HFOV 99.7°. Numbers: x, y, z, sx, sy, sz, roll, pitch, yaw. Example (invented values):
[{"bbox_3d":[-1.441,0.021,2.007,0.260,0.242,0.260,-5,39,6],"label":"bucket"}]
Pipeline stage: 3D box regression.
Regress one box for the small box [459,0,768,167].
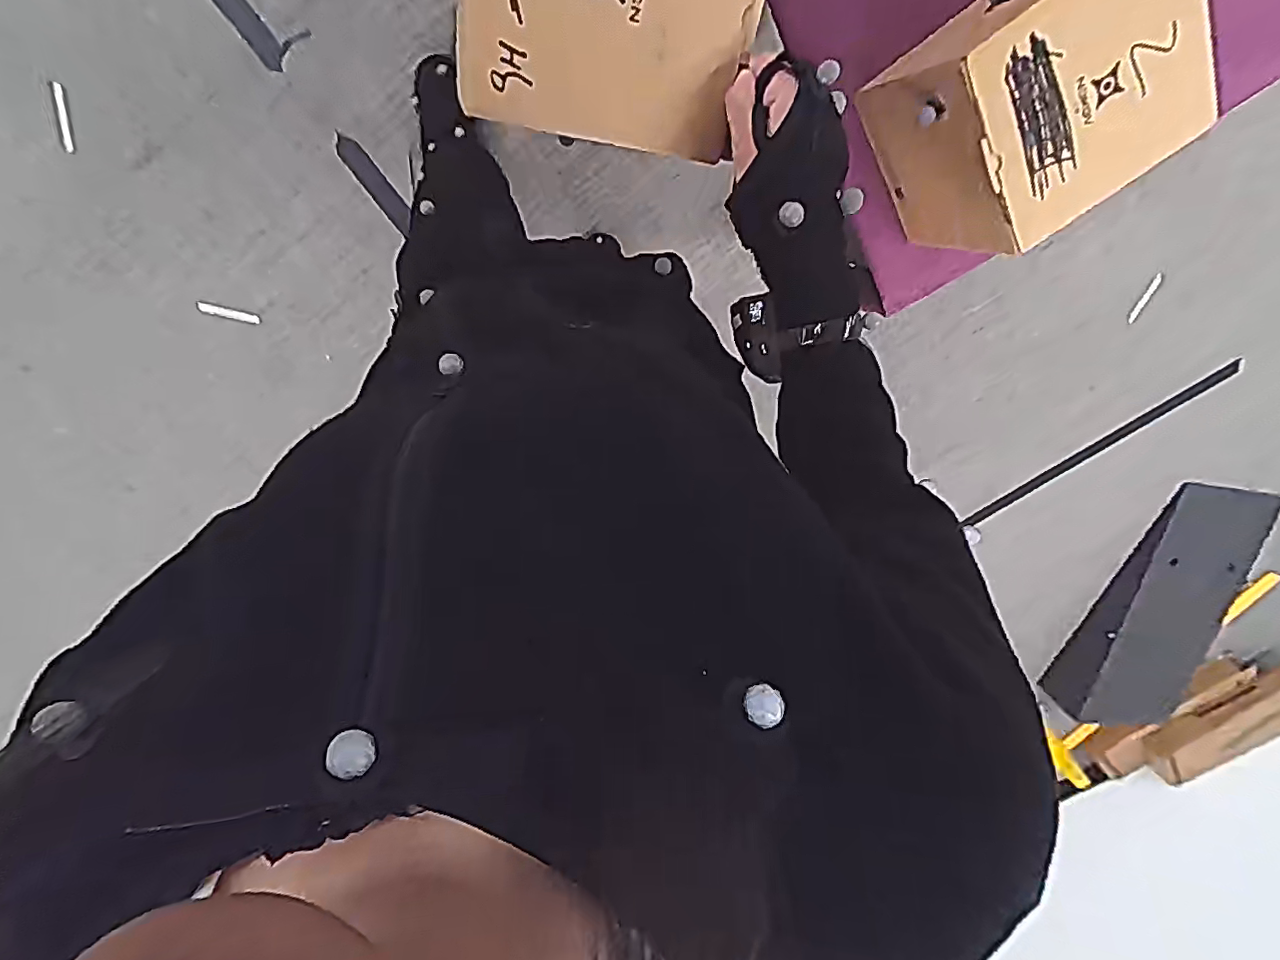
[{"bbox_3d":[-0.026,-0.337,0.369,0.179,0.176,0.168,-1,128,-21],"label":"small box"}]
